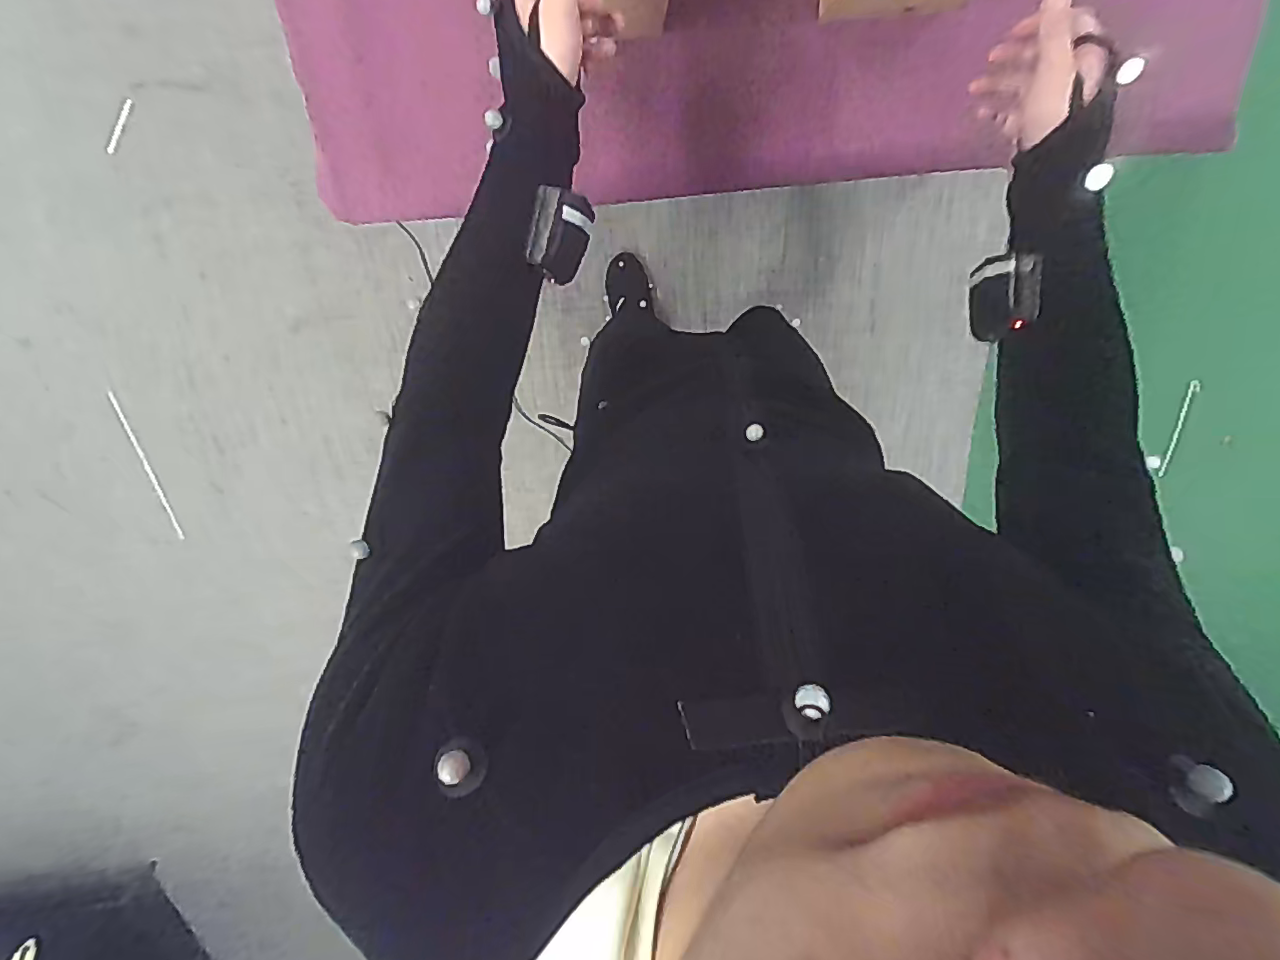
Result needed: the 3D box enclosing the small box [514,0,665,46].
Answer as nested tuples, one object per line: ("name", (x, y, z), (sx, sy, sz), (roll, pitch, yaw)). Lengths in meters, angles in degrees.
("small box", (-0.059, -0.583, 0.552), (0.168, 0.176, 0.179), (-4, 113, 0))
